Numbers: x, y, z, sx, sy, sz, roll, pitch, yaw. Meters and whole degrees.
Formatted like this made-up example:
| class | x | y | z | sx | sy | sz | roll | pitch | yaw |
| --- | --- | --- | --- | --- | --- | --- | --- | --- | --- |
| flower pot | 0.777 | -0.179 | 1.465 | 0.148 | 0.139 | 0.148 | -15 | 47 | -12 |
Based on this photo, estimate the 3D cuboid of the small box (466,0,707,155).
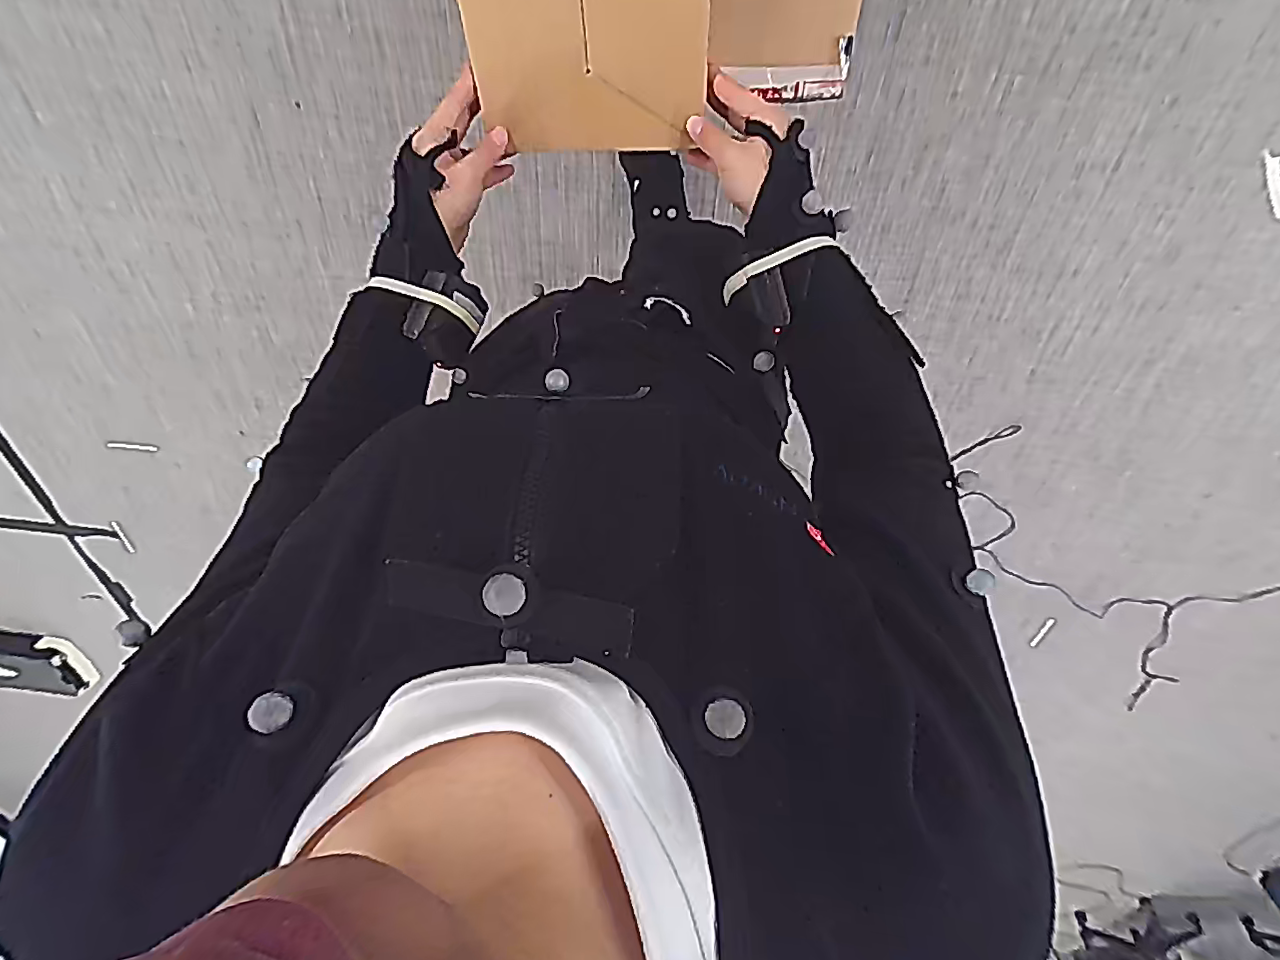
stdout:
| class | x | y | z | sx | sy | sz | roll | pitch | yaw |
| --- | --- | --- | --- | --- | --- | --- | --- | --- | --- |
| small box | -0.036 | -0.381 | 0.437 | 0.179 | 0.176 | 0.168 | 2 | 137 | 4 |
